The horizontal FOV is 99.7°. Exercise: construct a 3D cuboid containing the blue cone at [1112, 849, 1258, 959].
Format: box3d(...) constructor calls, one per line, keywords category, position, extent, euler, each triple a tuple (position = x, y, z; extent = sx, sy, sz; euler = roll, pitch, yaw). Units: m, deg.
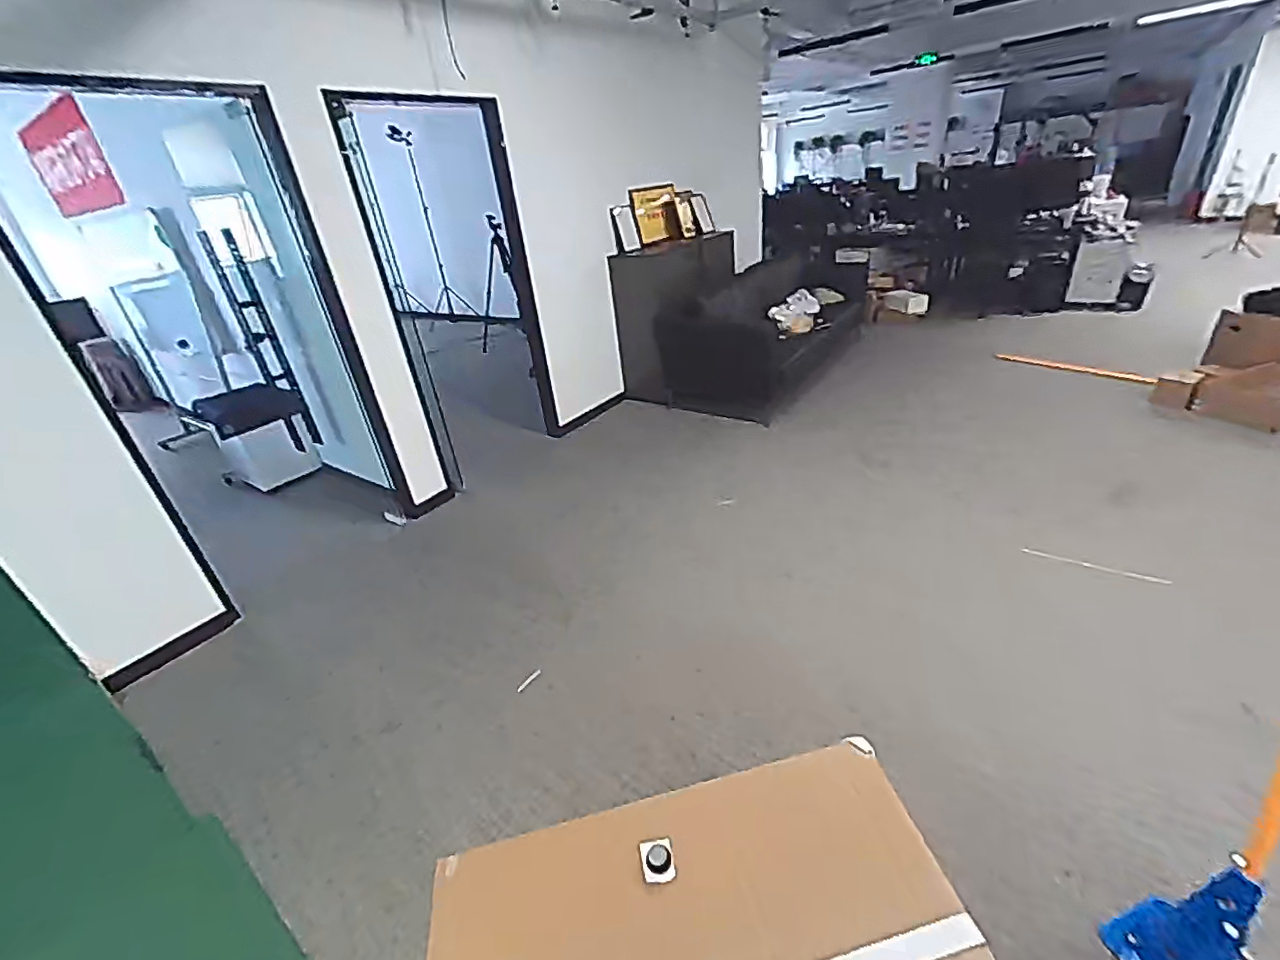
box3d(category="blue cone", position=(1.111, 0.846, 1.047), extent=(0.193, 0.380, 0.192), euler=(-17, 29, -15))
